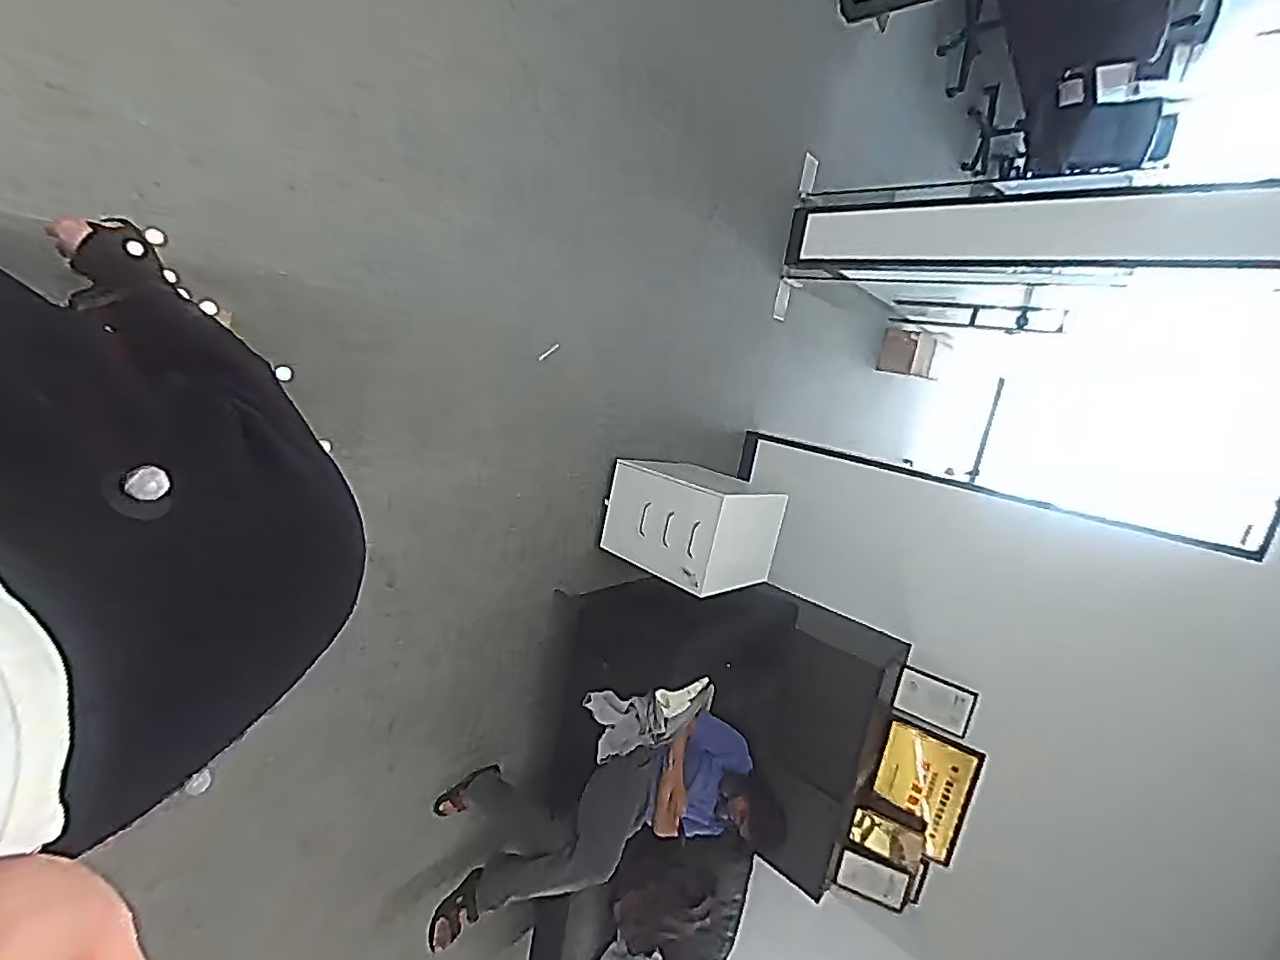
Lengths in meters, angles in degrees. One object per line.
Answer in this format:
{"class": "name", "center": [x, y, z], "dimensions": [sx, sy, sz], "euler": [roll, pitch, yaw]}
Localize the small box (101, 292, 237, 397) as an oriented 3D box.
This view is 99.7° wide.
{"class": "small box", "center": [-0.977, -0.282, 1.122], "dimensions": [0.179, 0.176, 0.168], "euler": [7, 100, -51]}
